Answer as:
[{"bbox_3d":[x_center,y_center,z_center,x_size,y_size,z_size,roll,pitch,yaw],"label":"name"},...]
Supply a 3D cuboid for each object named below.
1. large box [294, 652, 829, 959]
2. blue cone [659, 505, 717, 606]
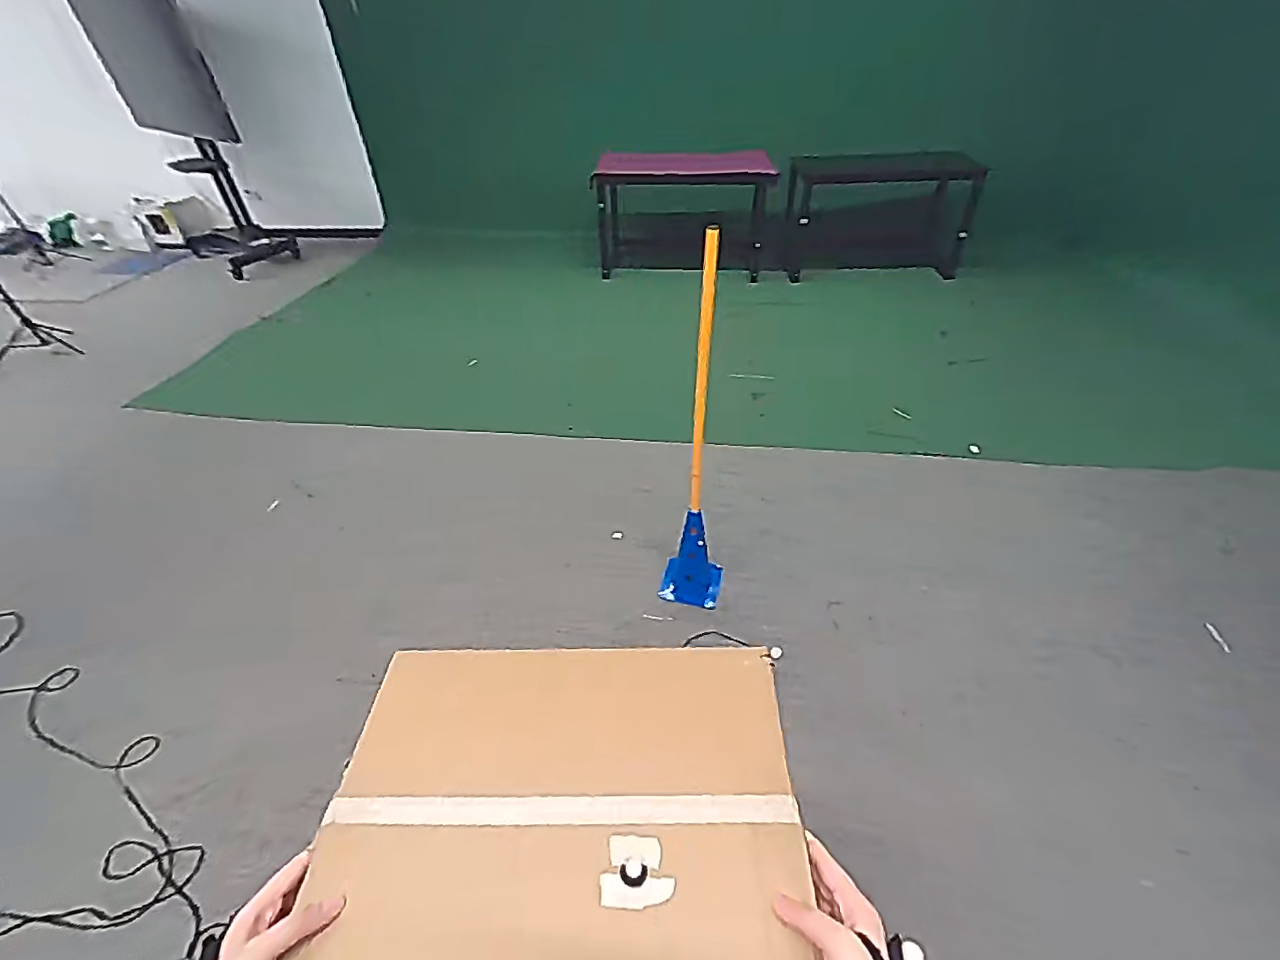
[{"bbox_3d":[-0.056,0.402,0.570,0.408,0.320,0.320,-1,42,2],"label":"large box"},{"bbox_3d":[0.170,0.241,1.833,0.193,0.380,0.192,10,40,13],"label":"blue cone"}]
